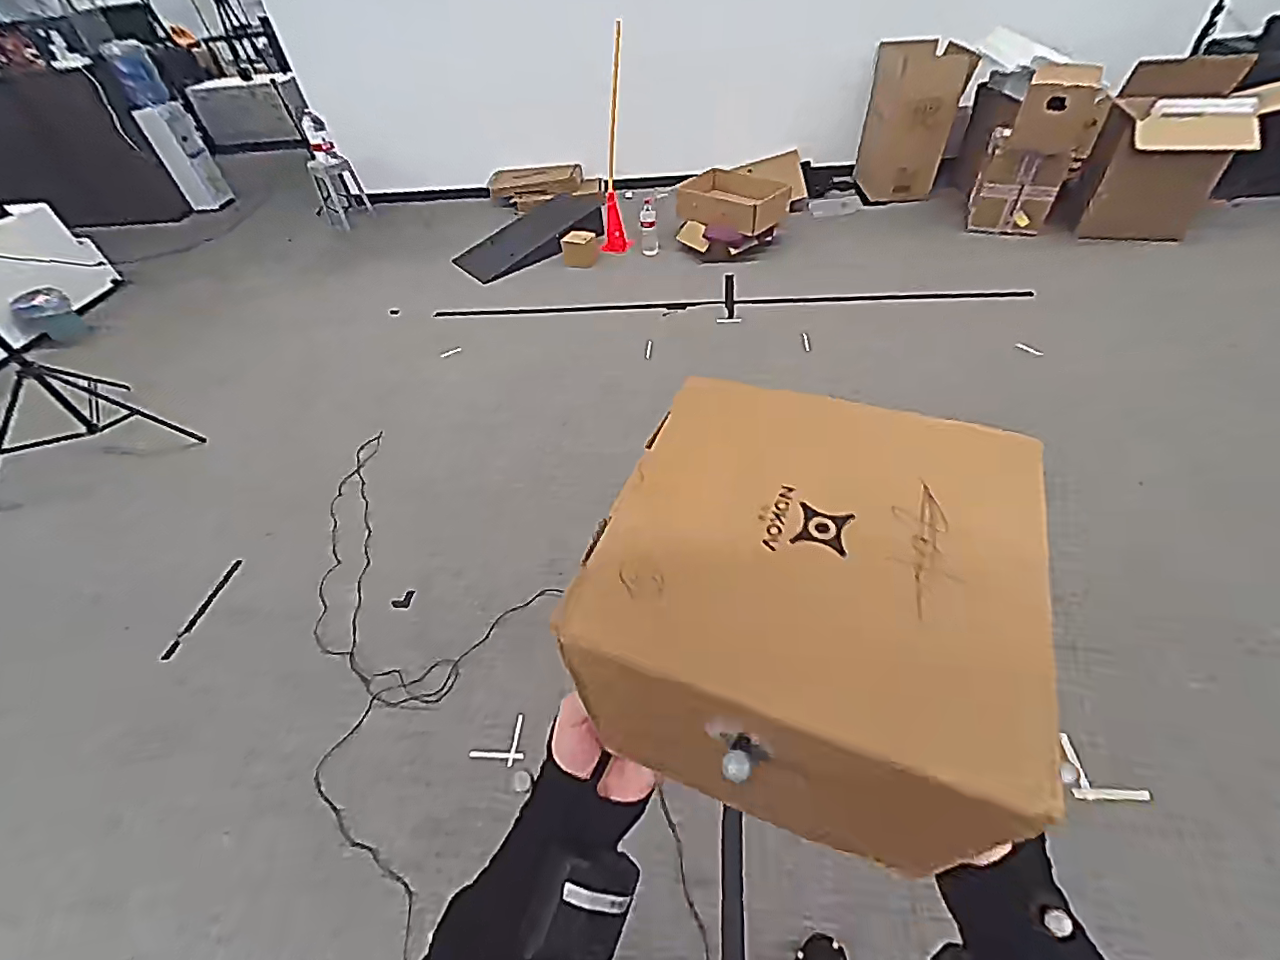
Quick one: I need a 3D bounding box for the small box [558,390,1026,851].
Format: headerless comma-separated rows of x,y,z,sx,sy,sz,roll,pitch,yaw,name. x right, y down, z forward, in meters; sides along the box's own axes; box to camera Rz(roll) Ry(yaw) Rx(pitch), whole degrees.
0.082,0.076,0.304,0.179,0.176,0.168,14,51,19,small box
